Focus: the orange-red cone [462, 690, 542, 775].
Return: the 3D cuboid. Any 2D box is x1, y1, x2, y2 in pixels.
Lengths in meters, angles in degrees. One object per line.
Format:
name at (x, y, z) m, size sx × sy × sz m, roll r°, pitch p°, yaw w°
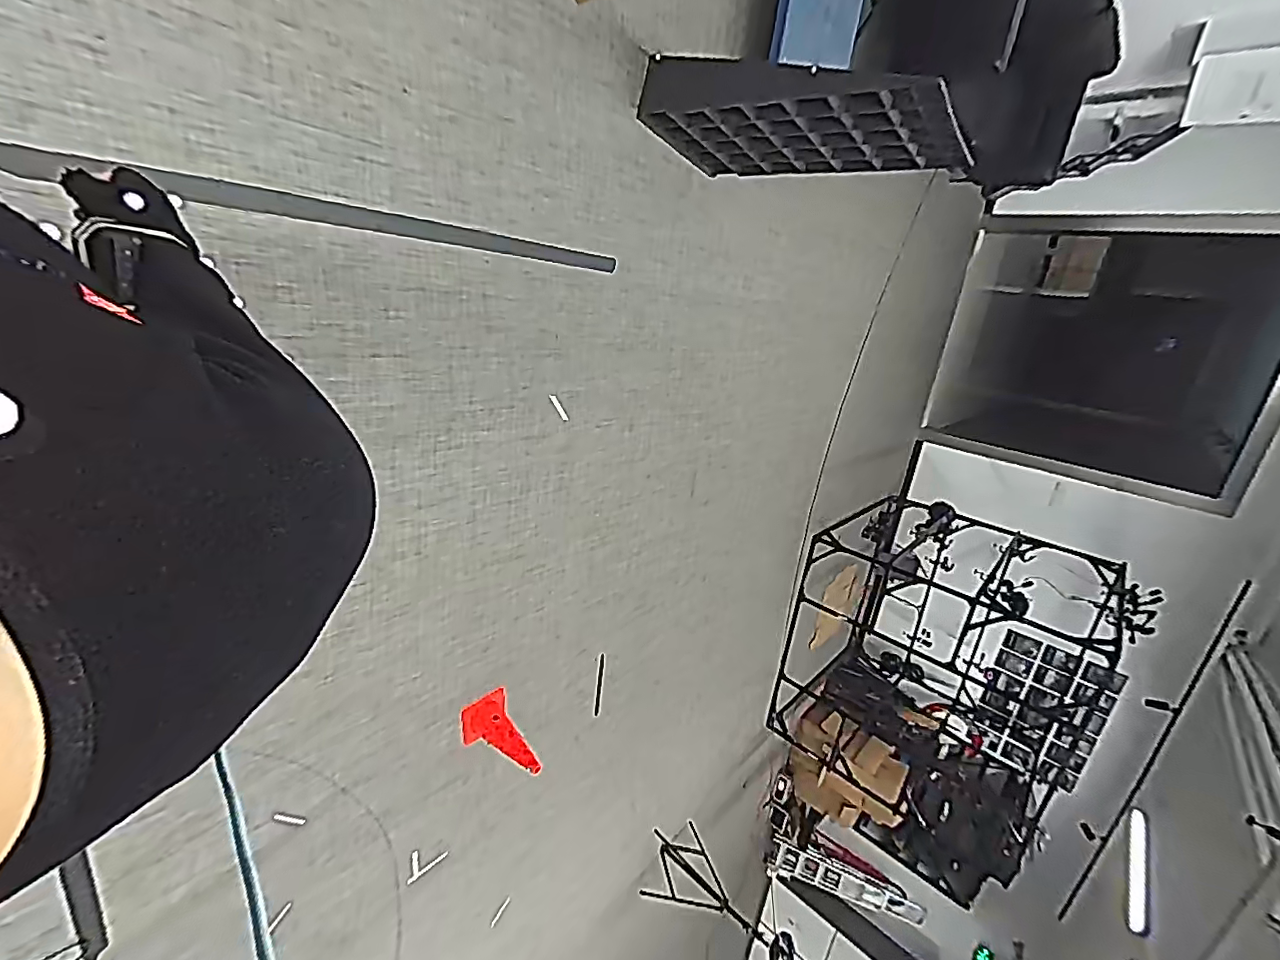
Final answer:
orange-red cone at (-0.505, 1.014, 2.086) m, size 0.198 × 0.360 × 0.199 m, roll -19°, pitch 121°, yaw -46°
